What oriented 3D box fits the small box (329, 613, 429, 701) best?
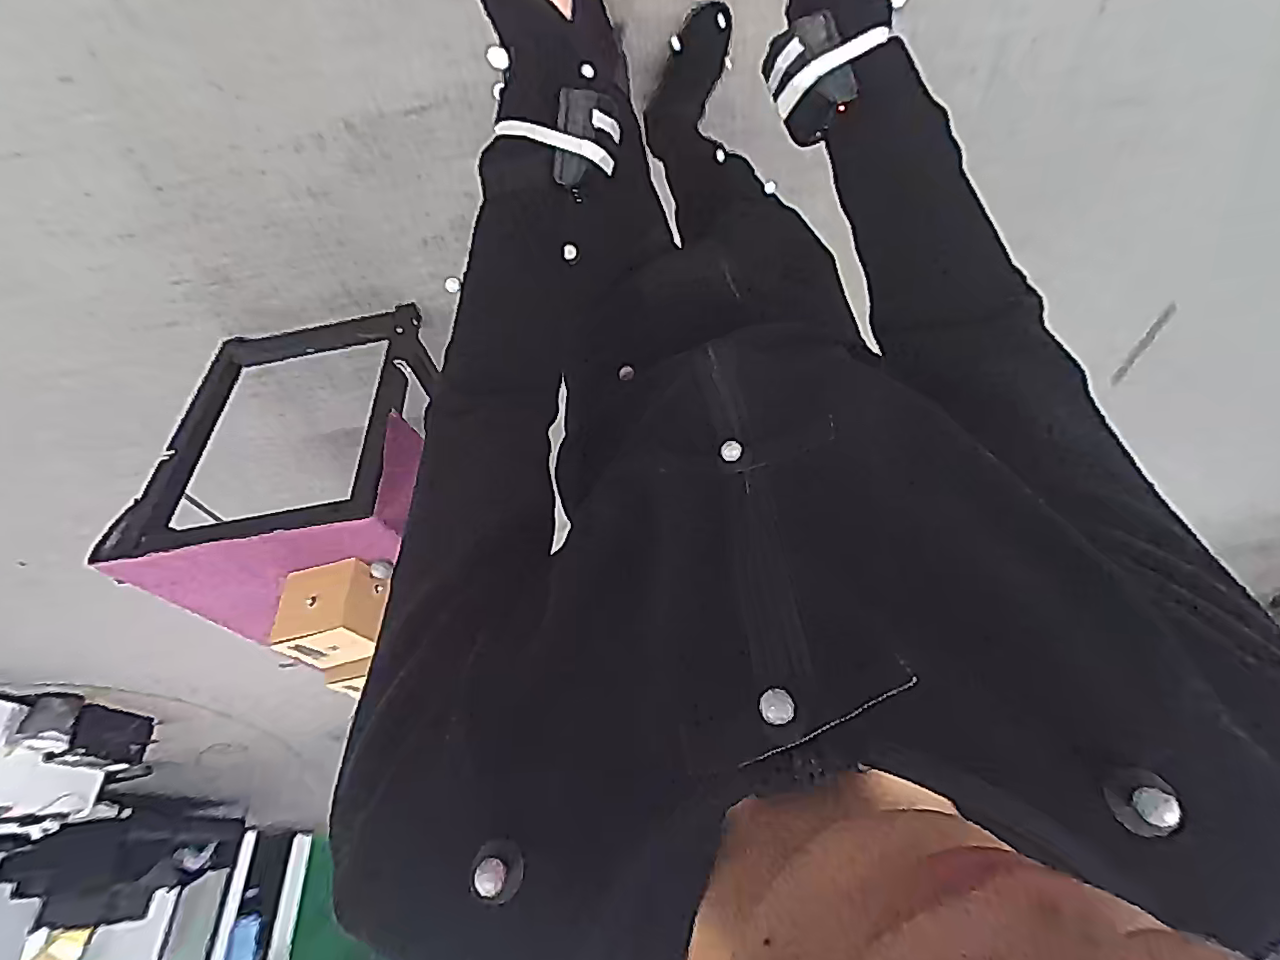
[{"bbox_3d":[-0.697,0.481,1.468,0.179,0.176,0.168,-14,144,6],"label":"small box"}]
